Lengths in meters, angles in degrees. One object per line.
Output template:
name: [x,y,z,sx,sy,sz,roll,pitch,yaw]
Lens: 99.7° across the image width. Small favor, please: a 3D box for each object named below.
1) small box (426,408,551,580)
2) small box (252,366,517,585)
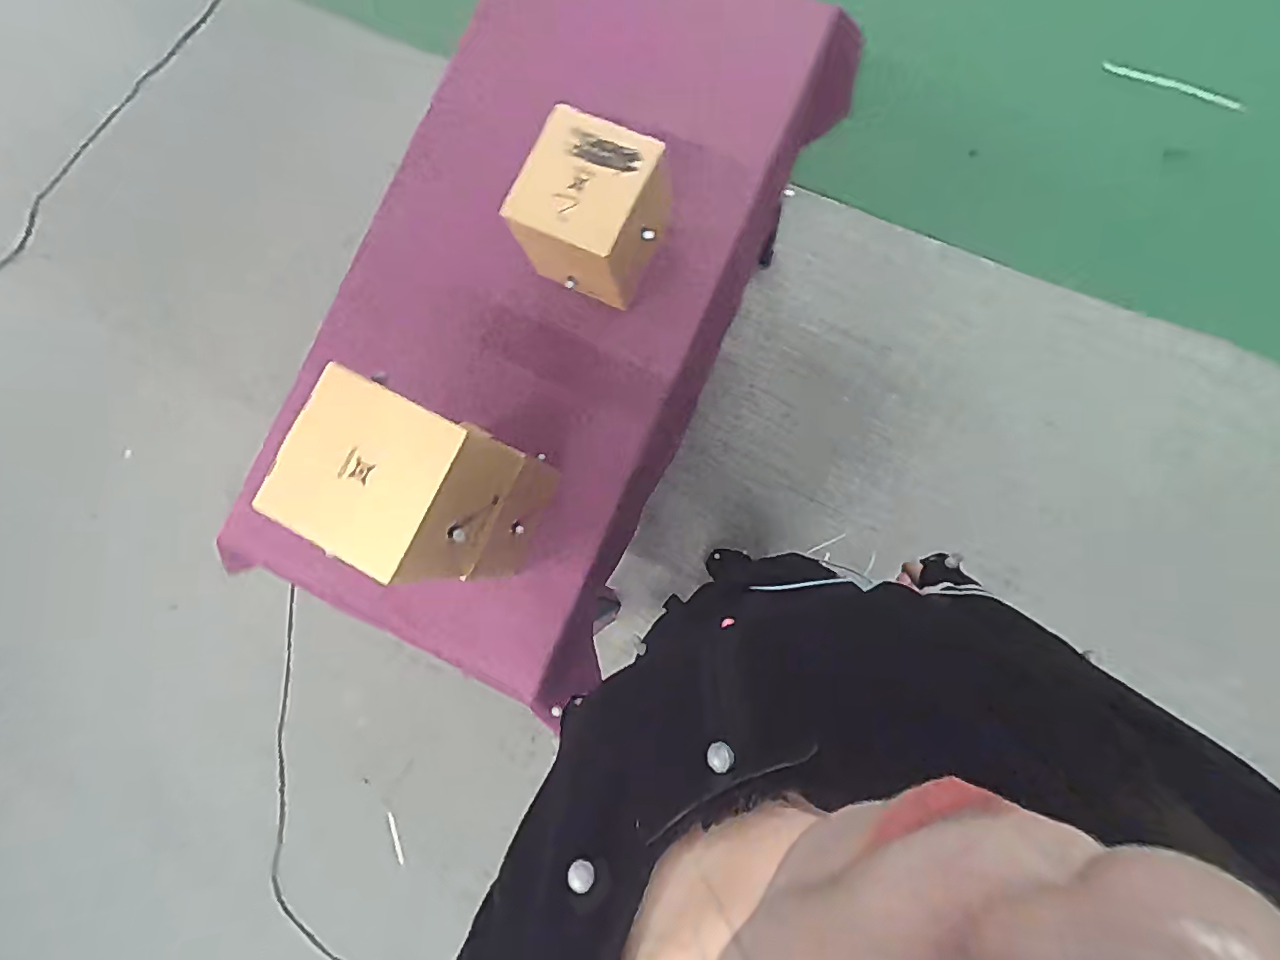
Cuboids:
small box: [-0.244,0.024,0.767,0.168,0.176,0.179,24,87,10]
small box: [-0.267,0.000,0.608,0.179,0.176,0.168,26,87,11]
